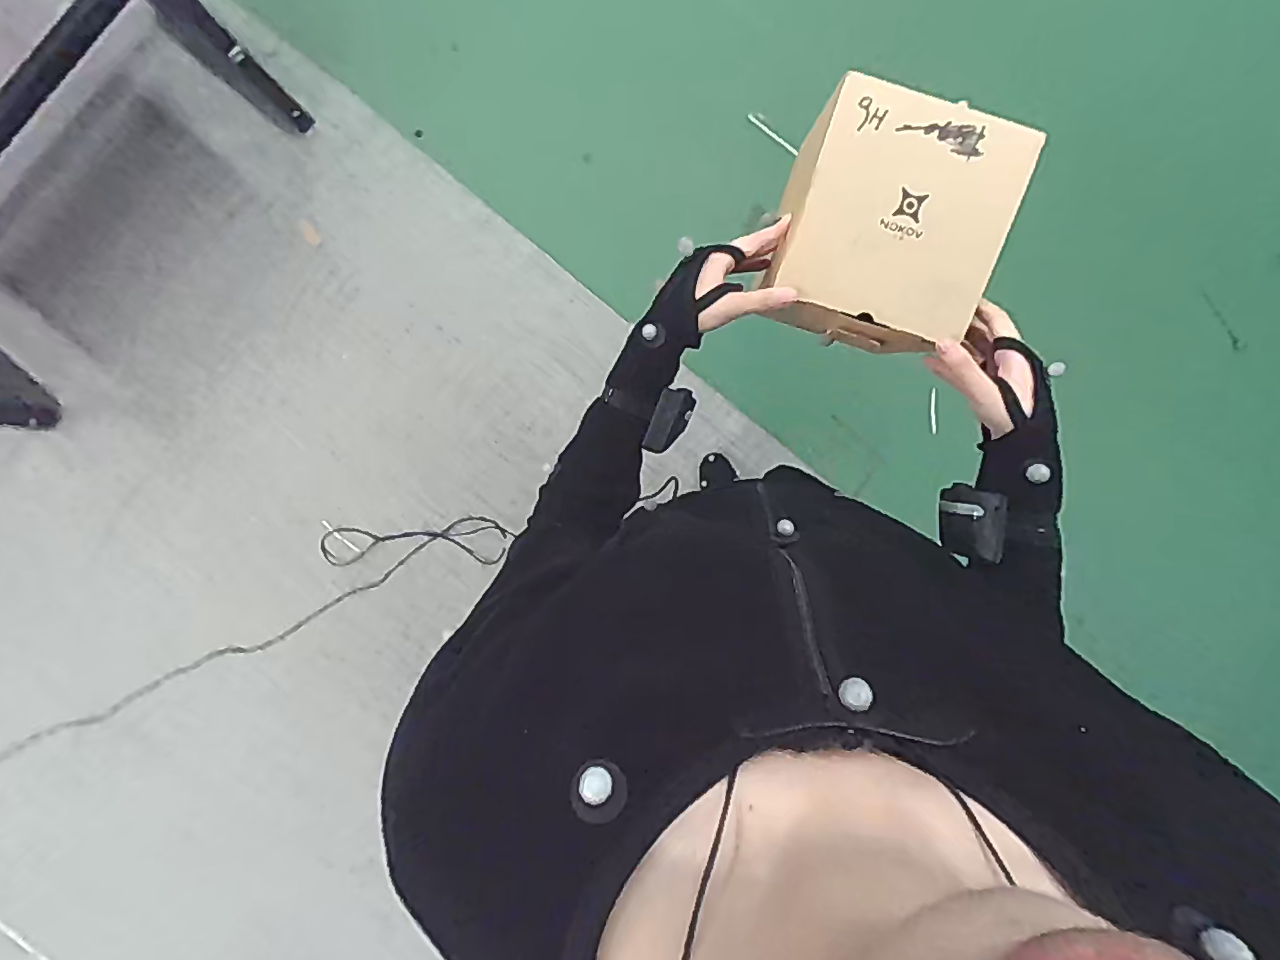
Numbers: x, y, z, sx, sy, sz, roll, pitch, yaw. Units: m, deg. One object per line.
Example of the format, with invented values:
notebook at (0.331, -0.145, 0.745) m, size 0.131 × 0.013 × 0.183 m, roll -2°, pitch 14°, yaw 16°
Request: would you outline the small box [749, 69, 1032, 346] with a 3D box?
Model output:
small box at (0.212, -0.237, 0.520) m, size 0.168 × 0.176 × 0.179 m, roll 17°, pitch 104°, yaw -1°
